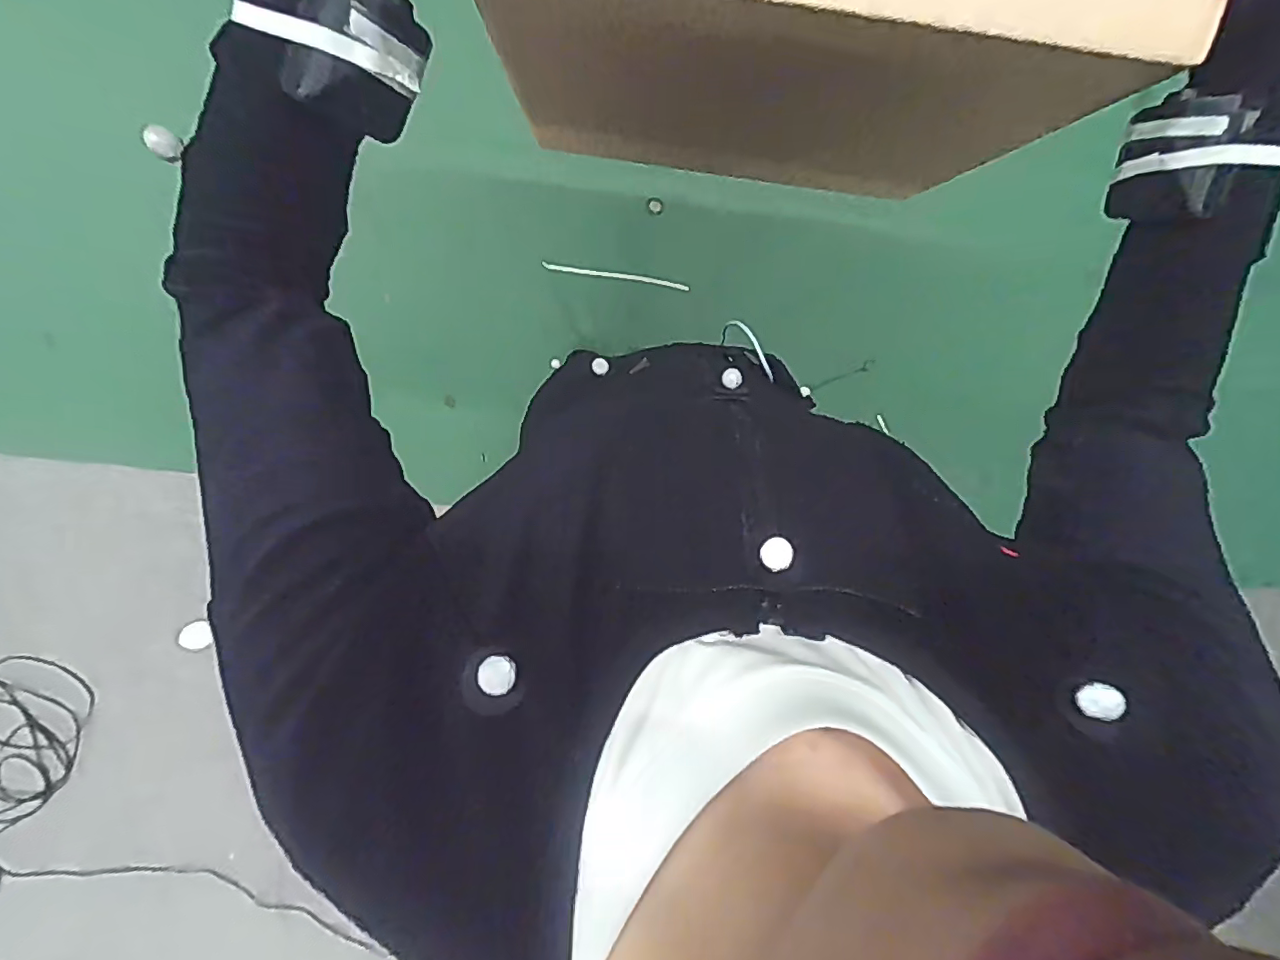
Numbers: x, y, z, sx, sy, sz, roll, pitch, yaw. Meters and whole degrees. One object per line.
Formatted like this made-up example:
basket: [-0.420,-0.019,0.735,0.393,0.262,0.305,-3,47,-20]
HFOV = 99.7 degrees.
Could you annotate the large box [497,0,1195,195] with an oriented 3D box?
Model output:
large box: [0.116,-0.438,0.402,0.408,0.320,0.320,5,105,-5]
